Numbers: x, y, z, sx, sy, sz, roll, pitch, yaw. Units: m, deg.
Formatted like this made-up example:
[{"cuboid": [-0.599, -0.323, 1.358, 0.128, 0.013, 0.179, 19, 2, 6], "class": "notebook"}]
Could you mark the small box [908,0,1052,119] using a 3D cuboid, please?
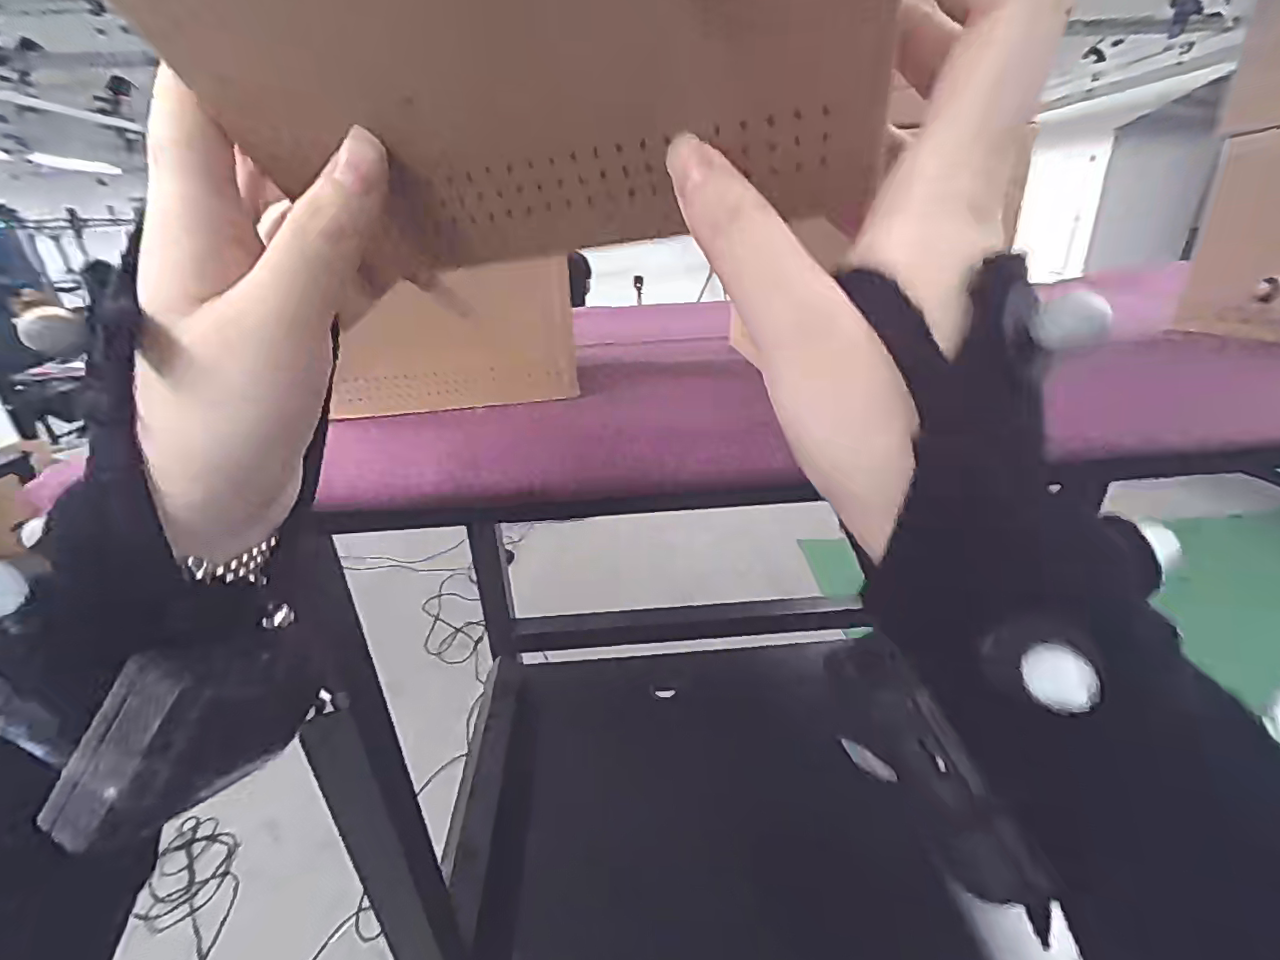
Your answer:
[{"cuboid": [0.171, -0.339, 0.395, 0.179, 0.176, 0.168, -2, 24, -2], "class": "small box"}]

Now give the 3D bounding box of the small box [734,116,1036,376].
[{"cuboid": [0.178, -0.187, 0.457, 0.179, 0.176, 0.168, -3, 24, -1], "class": "small box"}]

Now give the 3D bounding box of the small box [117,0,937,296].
[{"cuboid": [-0.021, -0.171, 0.135, 0.179, 0.176, 0.168, -1, 63, 18], "class": "small box"}]

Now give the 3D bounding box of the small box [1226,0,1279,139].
[{"cuboid": [0.589, -0.352, 0.370, 0.168, 0.176, 0.179, -4, 23, 0], "class": "small box"}]
